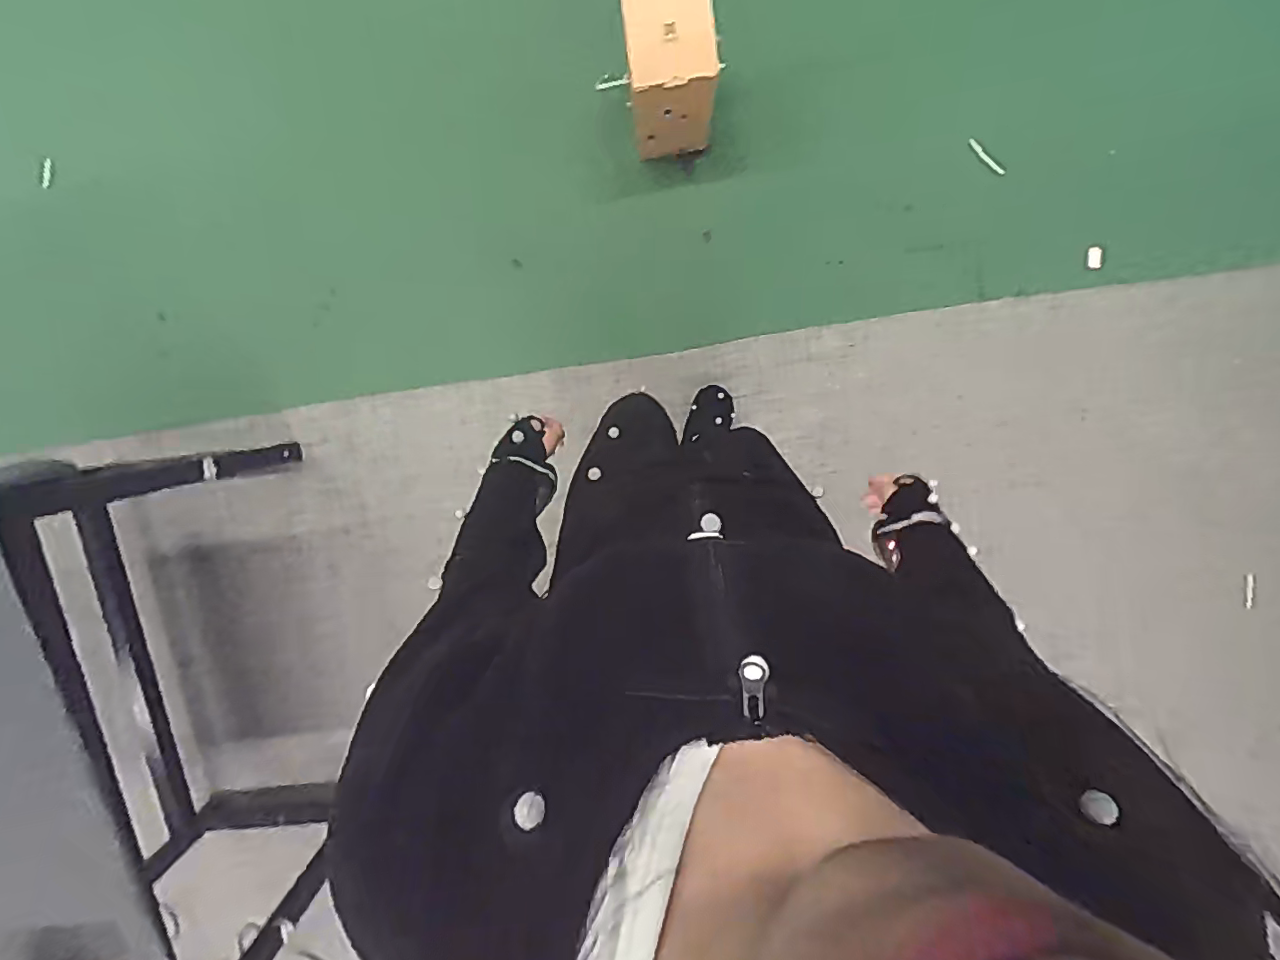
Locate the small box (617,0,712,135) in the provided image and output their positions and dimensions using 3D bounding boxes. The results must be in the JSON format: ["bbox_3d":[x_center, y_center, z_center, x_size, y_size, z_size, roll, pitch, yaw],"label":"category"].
[{"bbox_3d":[0.046,-0.836,1.089,0.168,0.176,0.179,-8,99,2],"label":"small box"}]
